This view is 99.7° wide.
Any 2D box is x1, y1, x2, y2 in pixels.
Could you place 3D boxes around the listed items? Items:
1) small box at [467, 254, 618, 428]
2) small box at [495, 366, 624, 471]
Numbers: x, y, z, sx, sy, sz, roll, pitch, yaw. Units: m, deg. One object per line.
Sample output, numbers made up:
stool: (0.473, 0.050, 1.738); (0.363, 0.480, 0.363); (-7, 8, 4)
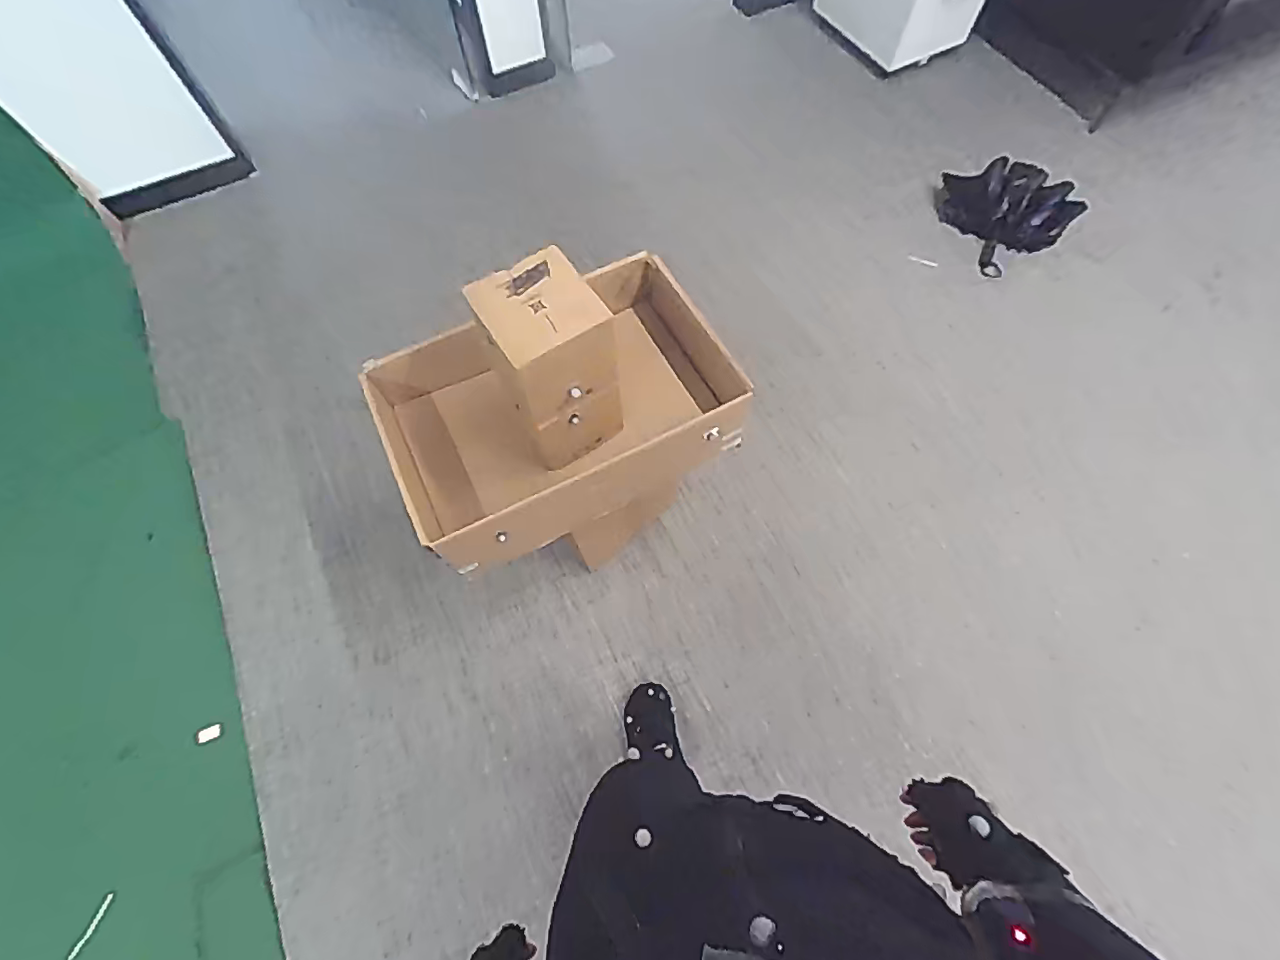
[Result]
small box: (-0.149, -0.218, 0.877); (0.168, 0.176, 0.179); (-32, 69, -12)
small box: (-0.145, -0.148, 1.024); (0.168, 0.176, 0.179); (-33, 68, -12)
